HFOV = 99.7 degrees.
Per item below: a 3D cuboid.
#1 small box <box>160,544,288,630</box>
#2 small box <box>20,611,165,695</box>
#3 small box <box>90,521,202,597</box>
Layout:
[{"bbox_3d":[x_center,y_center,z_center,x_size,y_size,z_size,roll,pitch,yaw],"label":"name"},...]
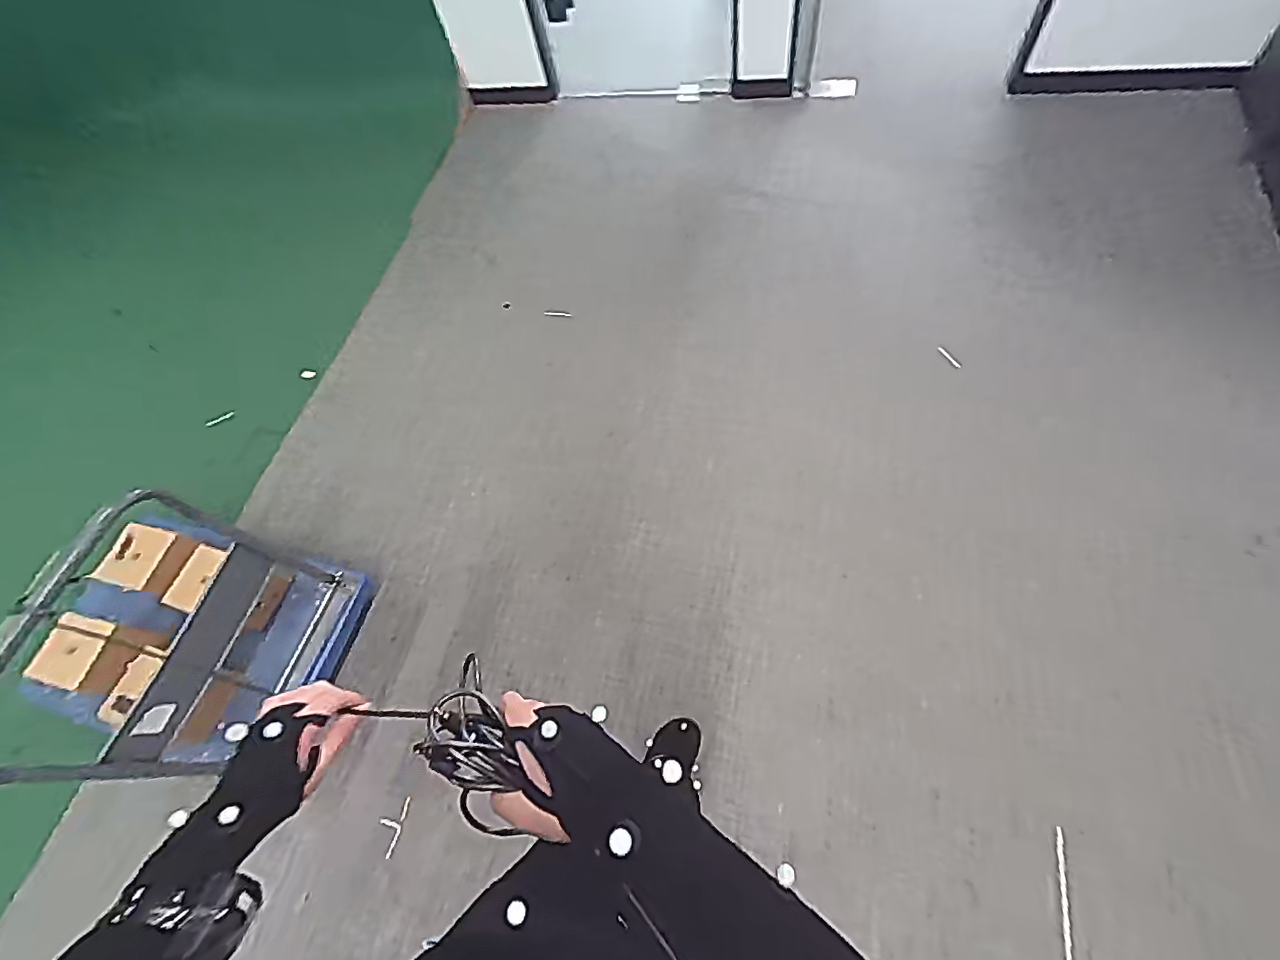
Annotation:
[{"bbox_3d":[-1.118,0.294,1.467,0.179,0.176,0.168,13,66,14],"label":"small box"},{"bbox_3d":[-1.427,0.460,1.424,0.179,0.176,0.168,8,64,12],"label":"small box"},{"bbox_3d":[-1.361,0.235,1.529,0.179,0.176,0.168,11,66,12],"label":"small box"}]
